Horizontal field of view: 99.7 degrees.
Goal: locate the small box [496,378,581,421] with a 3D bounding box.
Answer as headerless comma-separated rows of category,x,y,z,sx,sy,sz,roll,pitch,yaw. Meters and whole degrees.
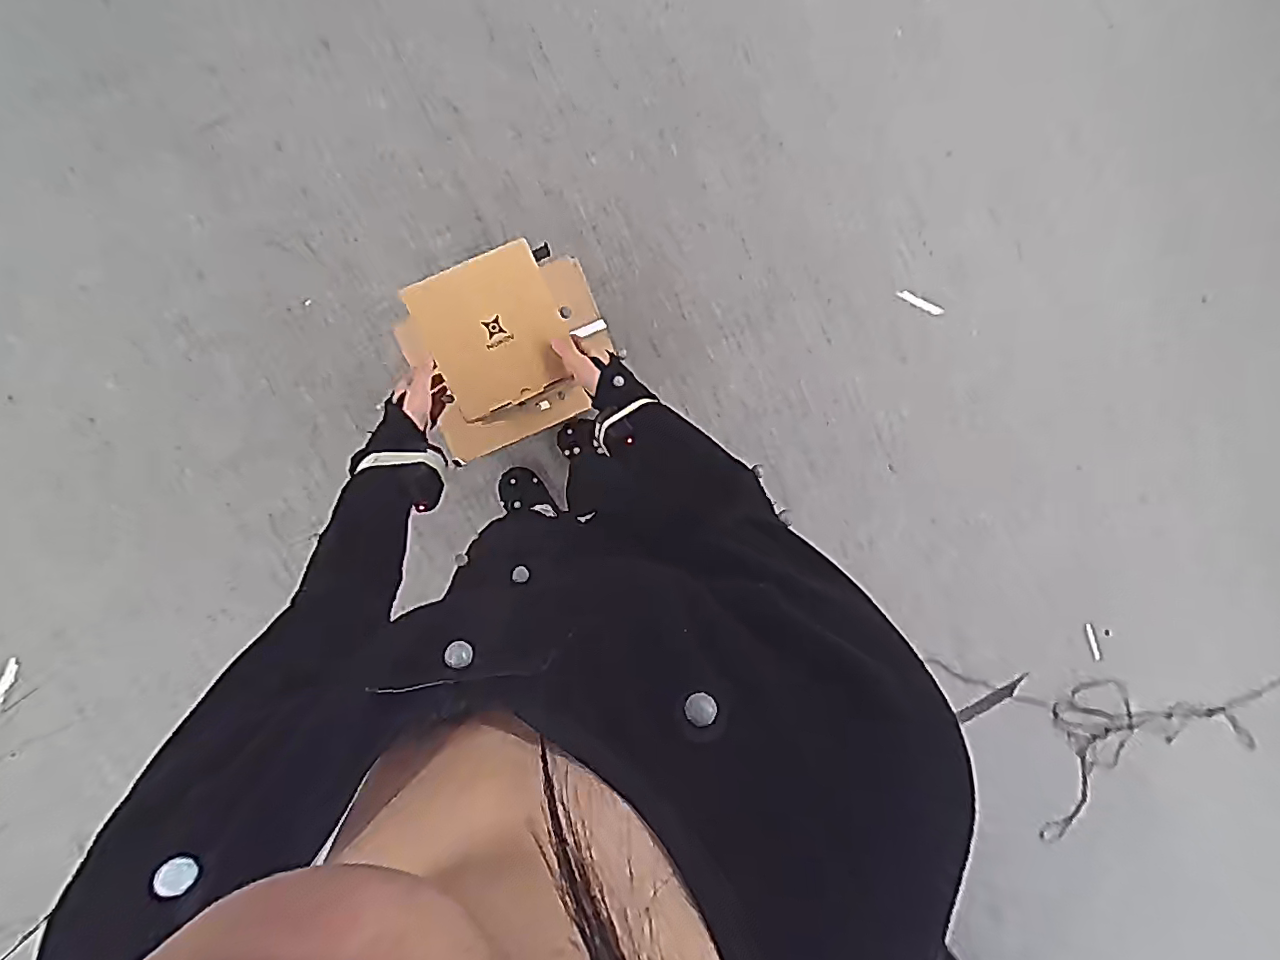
small box,-0.232,-0.225,1.066,0.179,0.176,0.168,-27,102,-7

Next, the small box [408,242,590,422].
small box,-0.186,-0.191,0.743,0.168,0.176,0.179,-27,102,-6
